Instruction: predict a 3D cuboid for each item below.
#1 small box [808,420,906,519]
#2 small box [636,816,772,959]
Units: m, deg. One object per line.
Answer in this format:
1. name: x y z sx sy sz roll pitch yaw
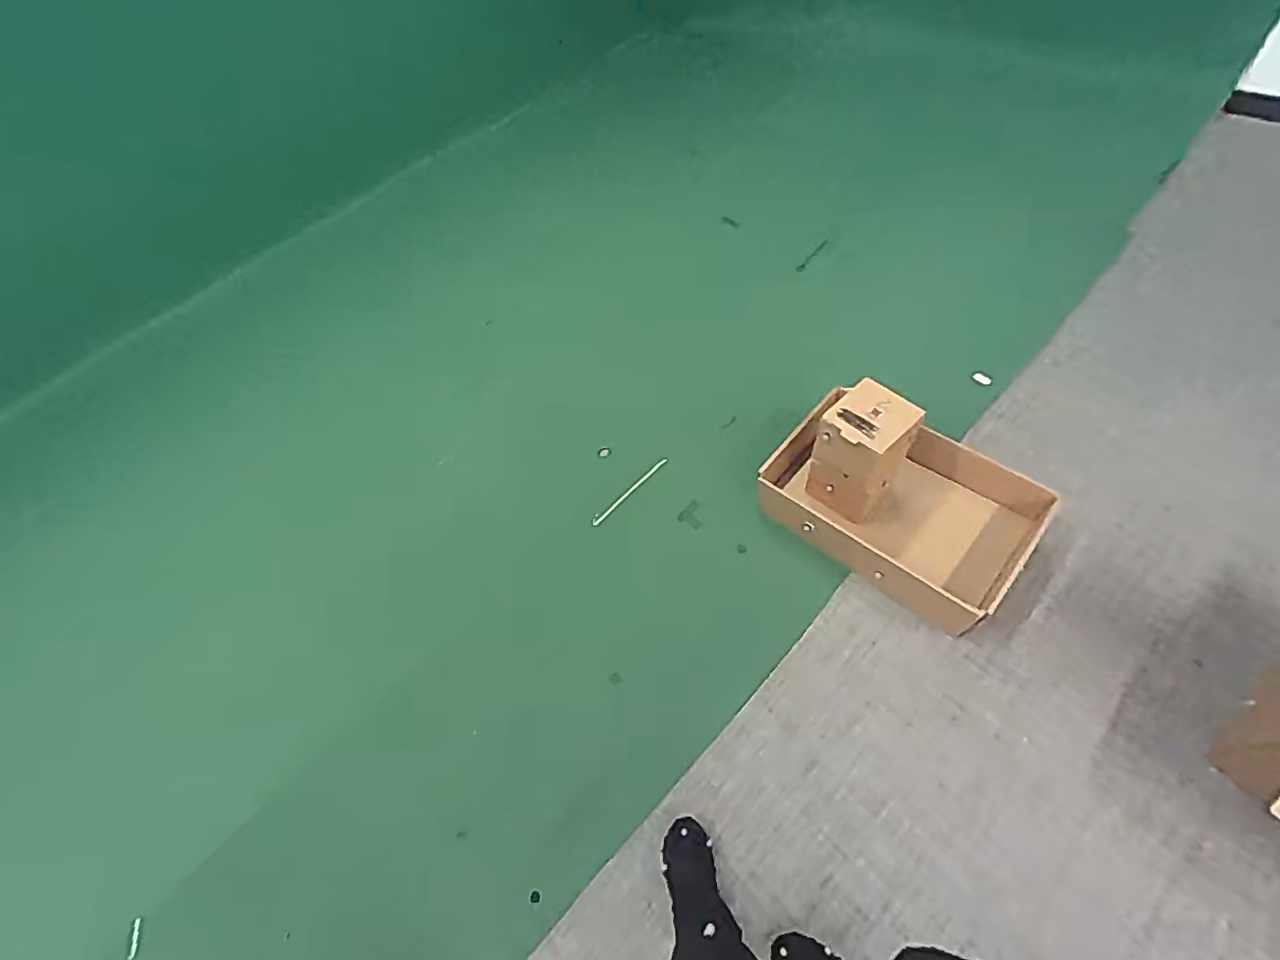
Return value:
1. small box: 0.581 -0.023 1.472 0.179 0.176 0.168 37 70 27
2. small box: 0.132 0.808 1.068 0.176 0.168 0.179 49 51 1
